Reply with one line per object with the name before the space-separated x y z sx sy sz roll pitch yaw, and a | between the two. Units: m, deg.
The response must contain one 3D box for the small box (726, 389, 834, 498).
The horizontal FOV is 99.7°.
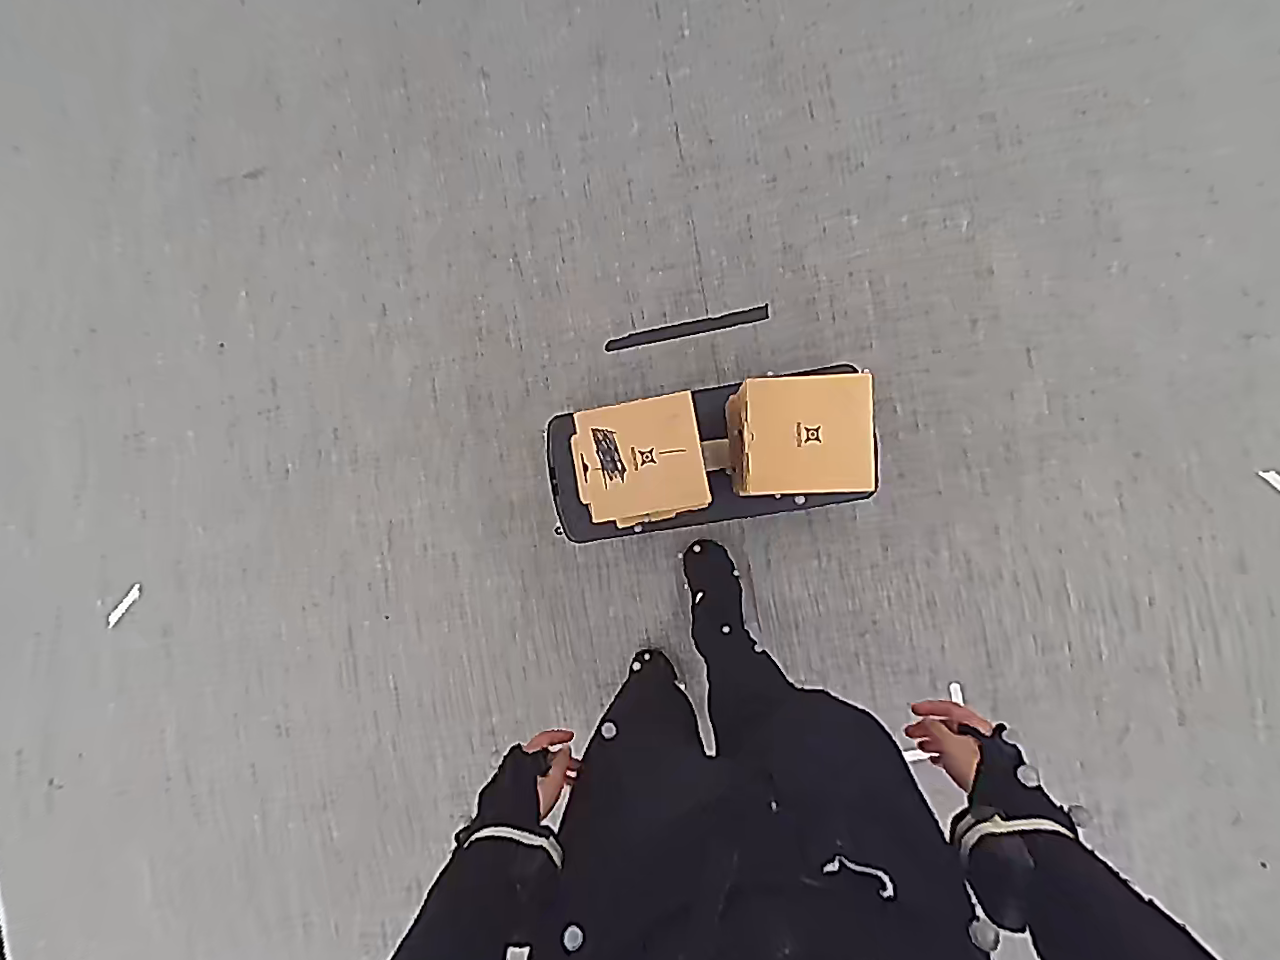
small box | 0.249 -0.064 0.996 0.168 0.176 0.179 -5 90 6
